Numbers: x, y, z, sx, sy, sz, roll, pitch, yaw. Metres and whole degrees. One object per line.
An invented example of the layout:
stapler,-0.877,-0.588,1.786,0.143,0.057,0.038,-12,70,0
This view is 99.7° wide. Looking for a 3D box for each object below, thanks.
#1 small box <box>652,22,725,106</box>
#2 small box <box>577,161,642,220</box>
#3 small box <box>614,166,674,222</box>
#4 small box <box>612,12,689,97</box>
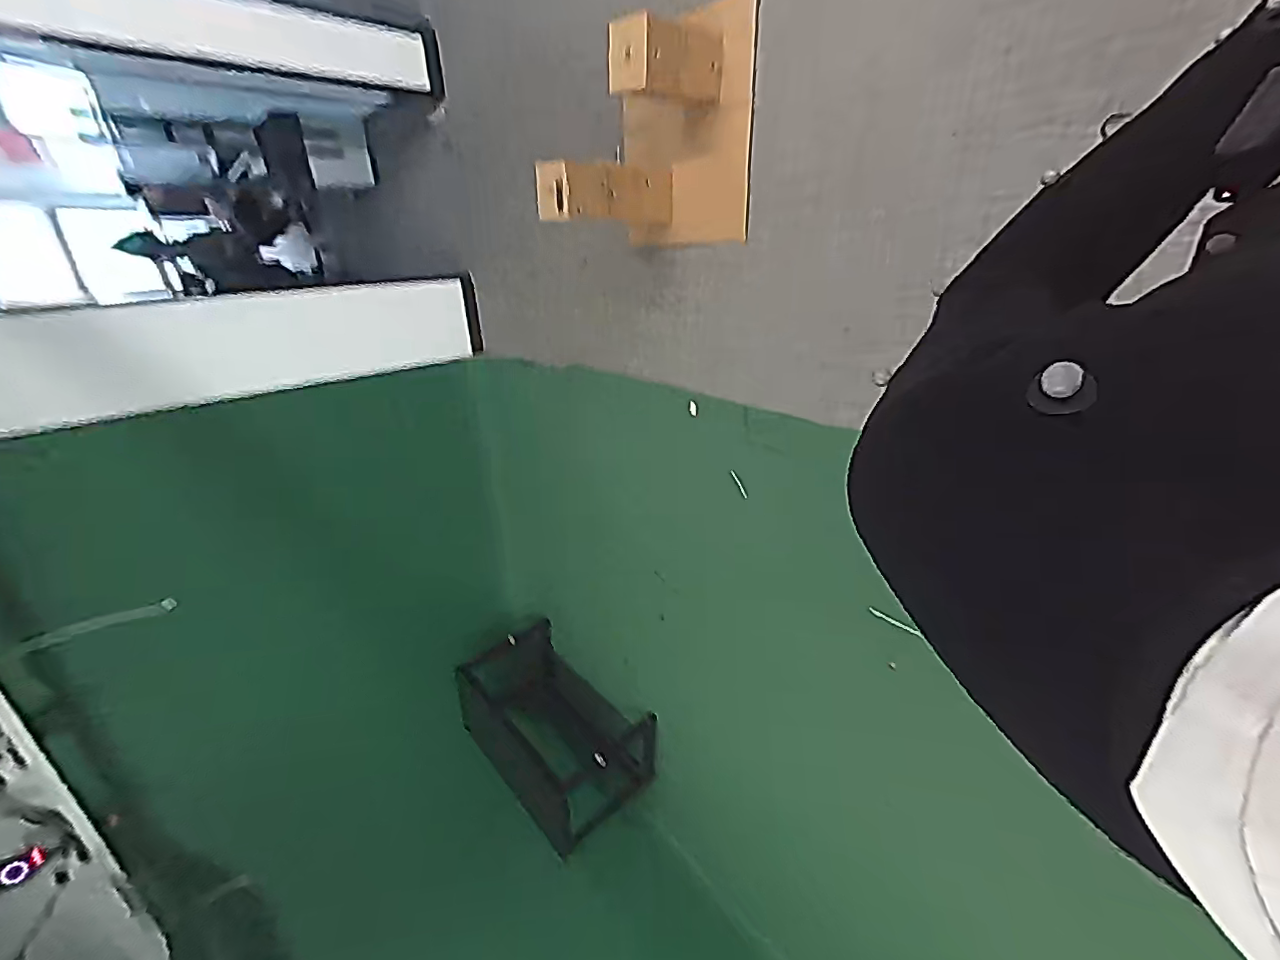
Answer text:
small box,0.155,-1.324,1.733,0.168,0.176,0.179,26,126,41
small box,-0.106,-1.024,1.922,0.168,0.176,0.179,24,125,41
small box,0.013,-1.066,2.023,0.168,0.176,0.179,25,125,42
small box,0.033,-1.275,1.635,0.168,0.176,0.179,28,127,39
